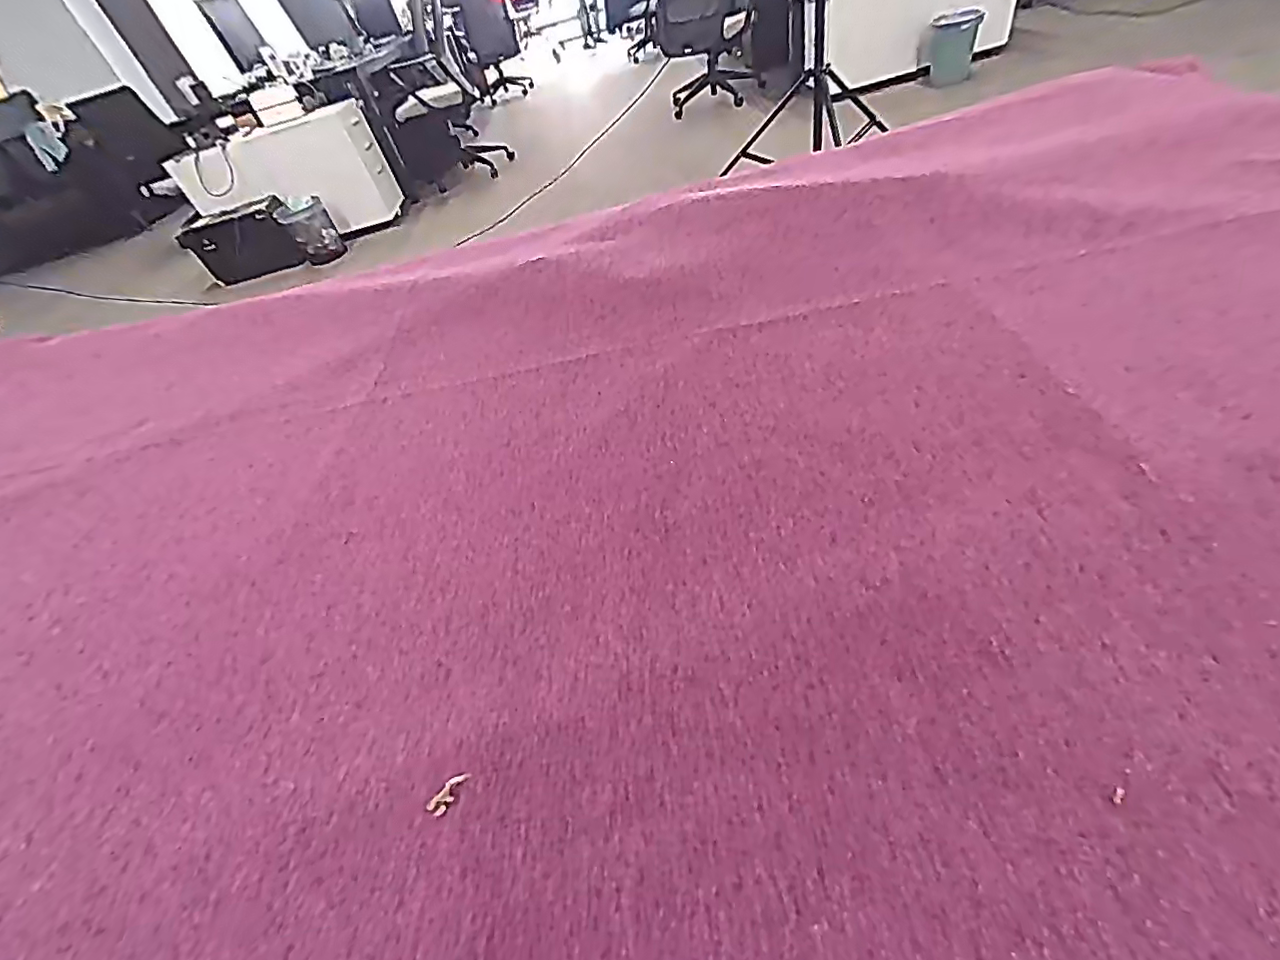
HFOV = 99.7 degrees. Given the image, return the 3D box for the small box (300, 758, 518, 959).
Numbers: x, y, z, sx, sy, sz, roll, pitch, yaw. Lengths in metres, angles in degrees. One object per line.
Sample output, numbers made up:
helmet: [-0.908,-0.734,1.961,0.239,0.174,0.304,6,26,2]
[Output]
small box: [-0.255,0.463,0.649,0.168,0.176,0.179,-13,46,4]

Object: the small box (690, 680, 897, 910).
small box: [0.165,0.362,0.620,0.168,0.176,0.179,-16,46,3]
